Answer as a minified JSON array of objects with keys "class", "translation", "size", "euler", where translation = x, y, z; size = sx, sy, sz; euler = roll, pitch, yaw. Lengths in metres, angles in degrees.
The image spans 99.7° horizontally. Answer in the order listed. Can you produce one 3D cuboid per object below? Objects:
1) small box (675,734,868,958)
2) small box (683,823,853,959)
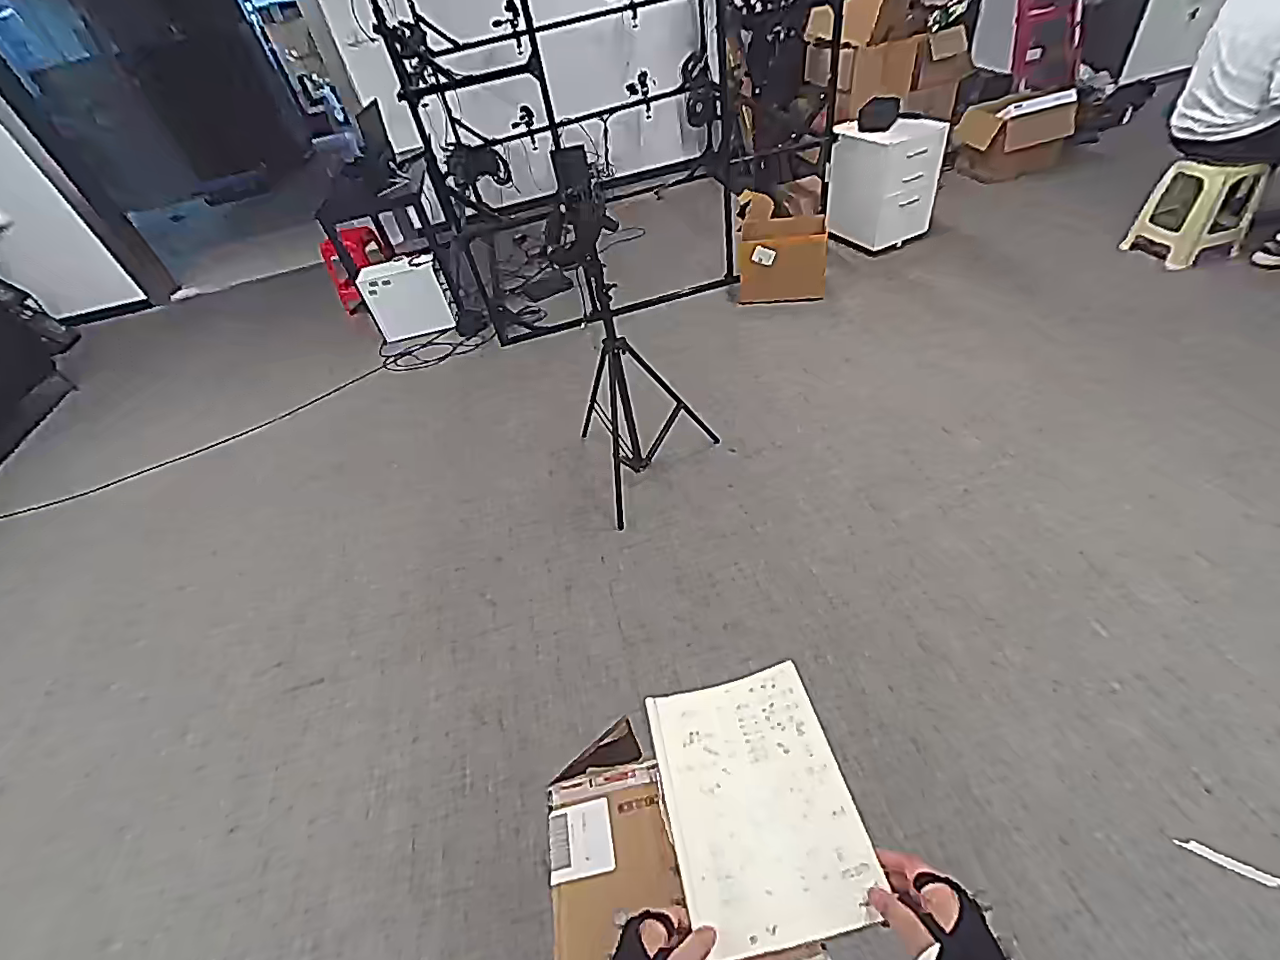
[{"class":"small box","translation":[0.146,0.448,0.663],"size":[0.168,0.176,0.179],"euler":[-14,46,-5]},{"class":"small box","translation":[0.171,0.567,0.770],"size":[0.179,0.176,0.168],"euler":[-17,44,-6]}]
